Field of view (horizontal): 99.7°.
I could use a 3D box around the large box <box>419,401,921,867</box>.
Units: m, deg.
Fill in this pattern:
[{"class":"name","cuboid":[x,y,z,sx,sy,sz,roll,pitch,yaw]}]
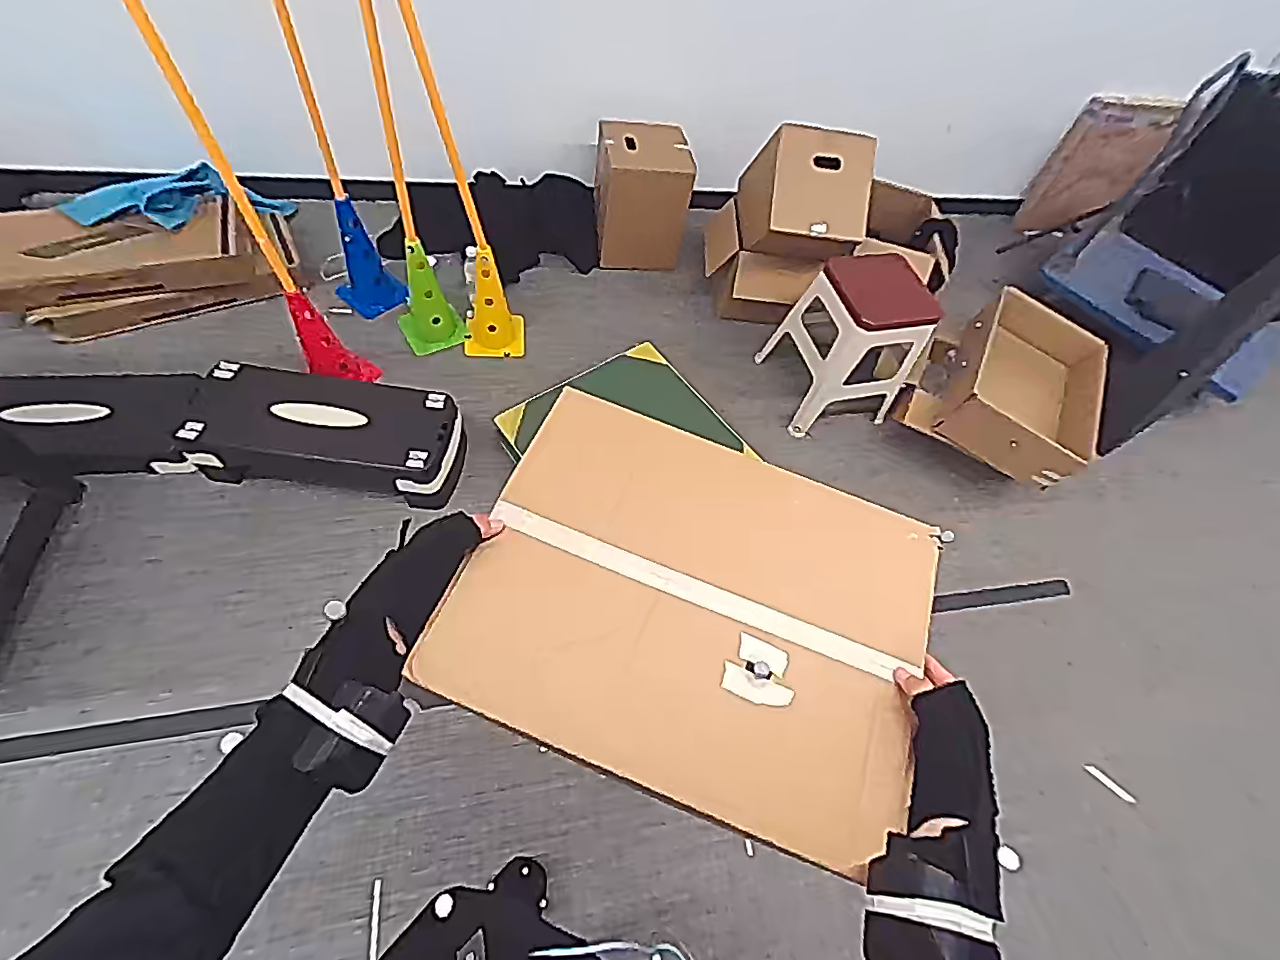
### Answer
[{"class":"large box","cuboid":[0.035,0.174,0.625,0.408,0.320,0.320,22,63,4]}]
